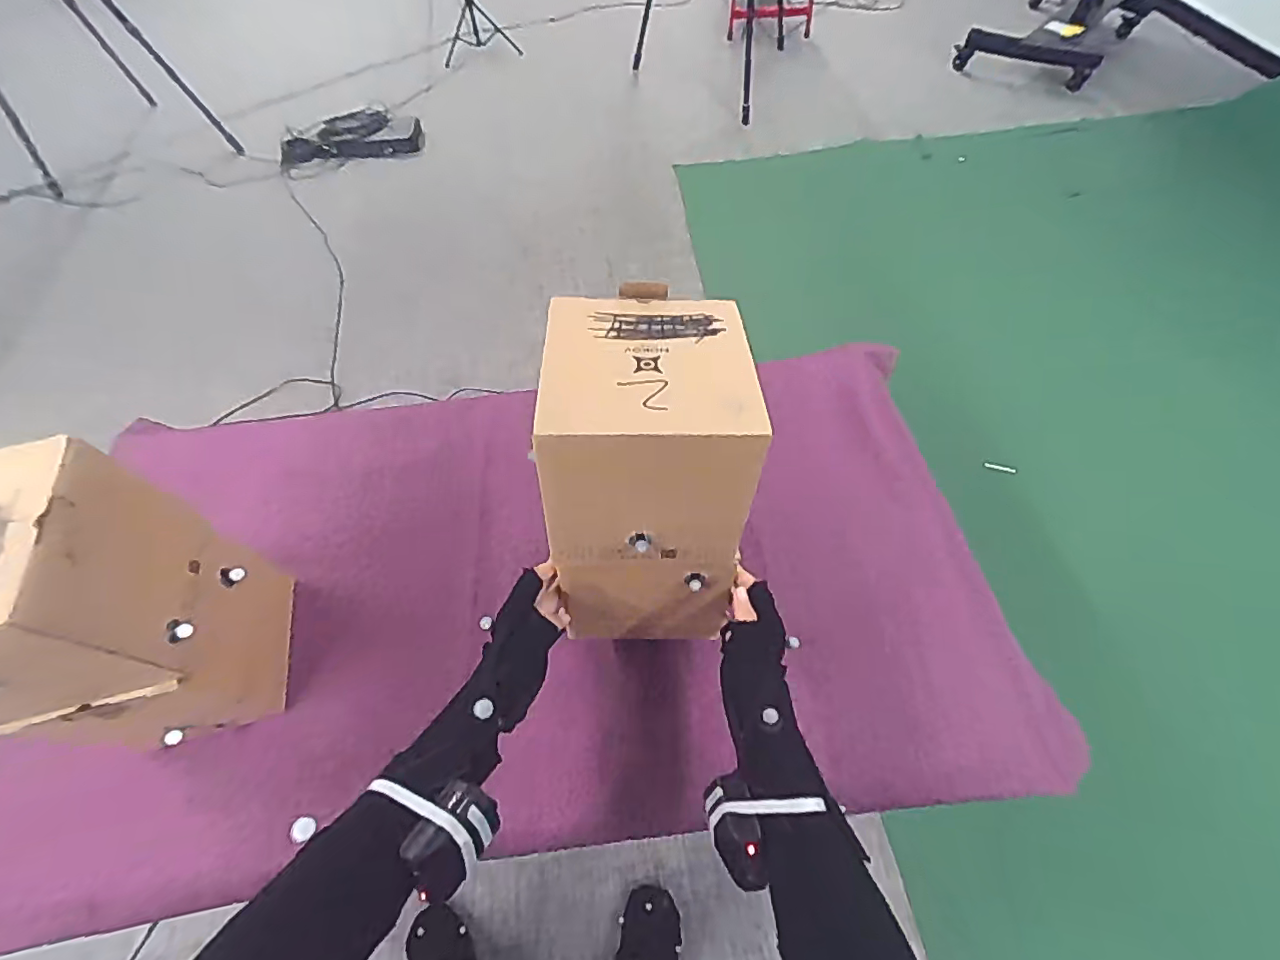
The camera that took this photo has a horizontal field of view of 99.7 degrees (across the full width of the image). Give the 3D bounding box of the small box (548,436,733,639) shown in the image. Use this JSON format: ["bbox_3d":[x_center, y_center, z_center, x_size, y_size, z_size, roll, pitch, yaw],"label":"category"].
[{"bbox_3d":[-0.001,0.068,0.611,0.179,0.176,0.168,1,48,-2],"label":"small box"}]

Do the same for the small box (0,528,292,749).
[{"bbox_3d":[-0.523,0.182,0.605,0.168,0.176,0.179,-14,60,-5],"label":"small box"}]

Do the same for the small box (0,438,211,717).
[{"bbox_3d":[-0.524,0.090,0.464,0.179,0.176,0.168,-11,57,-5],"label":"small box"}]
